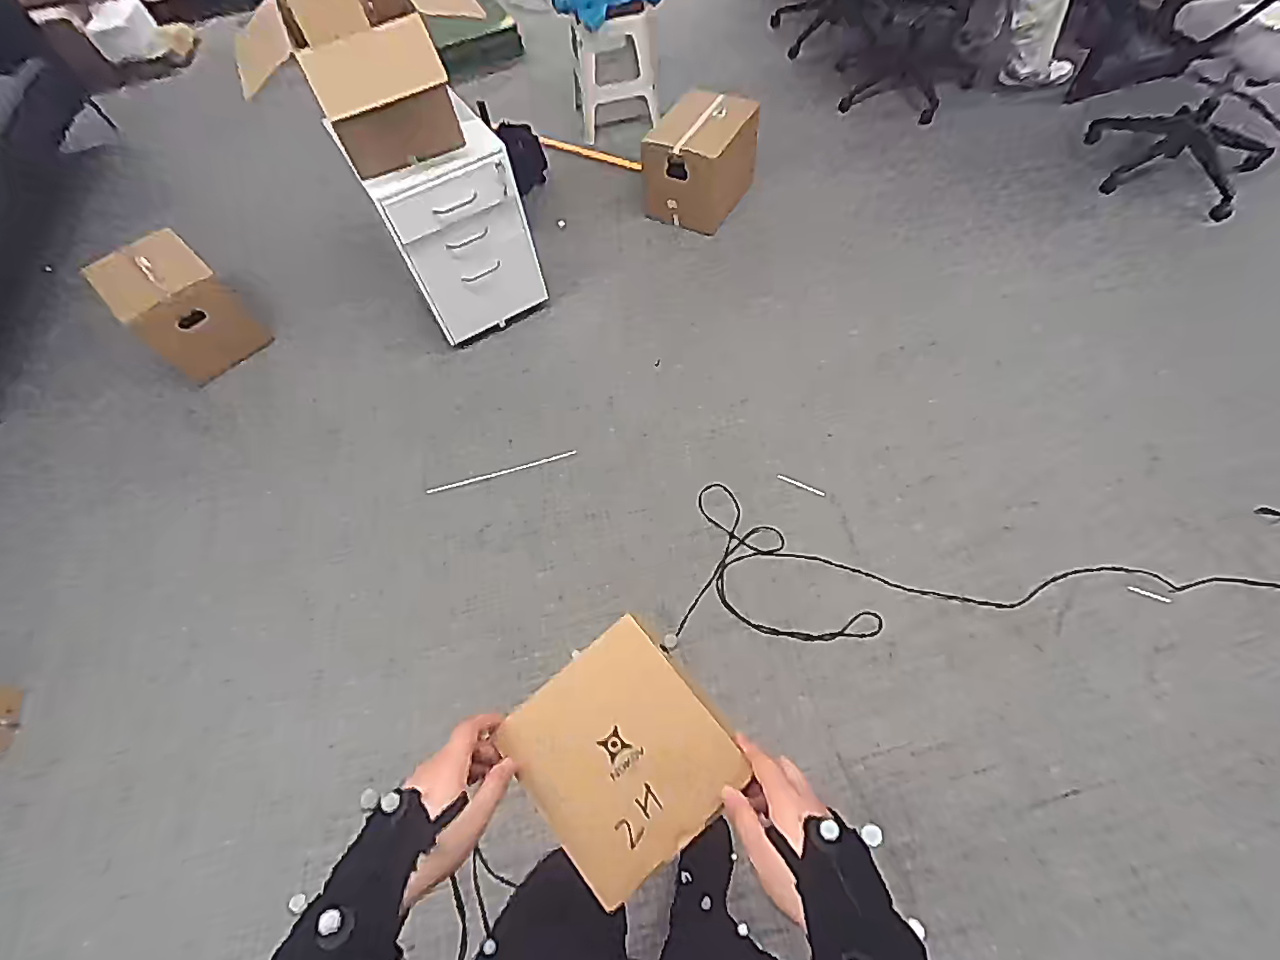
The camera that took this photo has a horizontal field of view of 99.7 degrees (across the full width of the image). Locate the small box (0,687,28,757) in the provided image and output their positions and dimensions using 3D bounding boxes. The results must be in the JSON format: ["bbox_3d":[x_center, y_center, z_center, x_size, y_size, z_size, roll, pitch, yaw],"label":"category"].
[{"bbox_3d":[-1.731,0.623,1.356,0.179,0.176,0.168,-14,61,-4],"label":"small box"}]

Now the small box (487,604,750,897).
[{"bbox_3d":[-0.015,0.247,0.542,0.168,0.176,0.179,-40,75,-5],"label":"small box"}]
